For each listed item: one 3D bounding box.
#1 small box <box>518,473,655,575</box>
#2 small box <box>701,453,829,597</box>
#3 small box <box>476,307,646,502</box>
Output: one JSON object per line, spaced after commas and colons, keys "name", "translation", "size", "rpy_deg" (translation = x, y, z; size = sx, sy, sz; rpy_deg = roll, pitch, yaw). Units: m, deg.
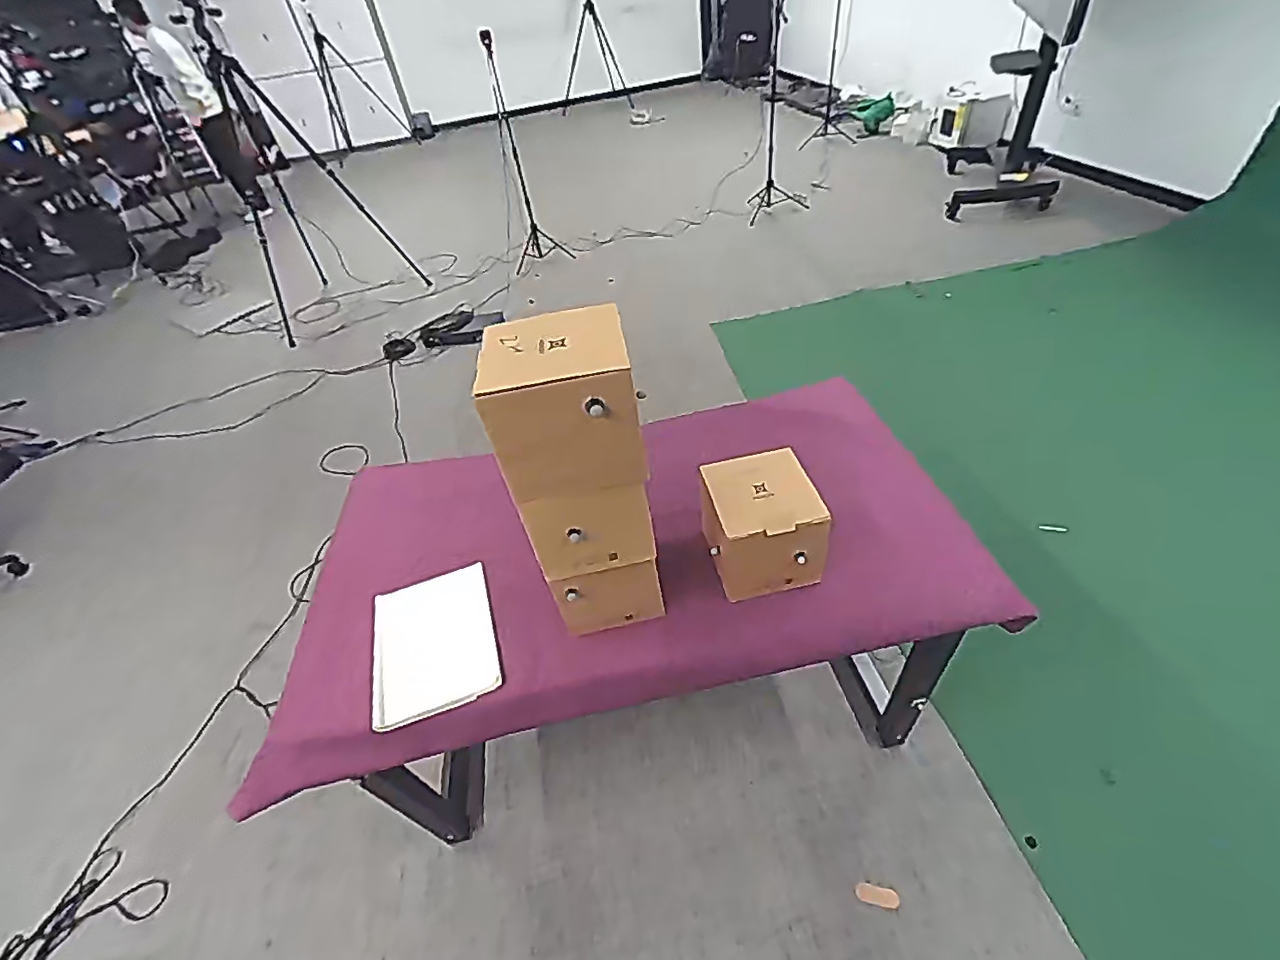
{"name": "small box", "translation": [-0.077, 0.023, 0.803], "size": [0.168, 0.176, 0.179], "rpy_deg": [-11, 42, -1]}
{"name": "small box", "translation": [0.207, 0.082, 0.929], "size": [0.168, 0.176, 0.179], "rpy_deg": [-11, 42, -2]}
{"name": "small box", "translation": [-0.089, -0.094, 0.687], "size": [0.179, 0.176, 0.168], "rpy_deg": [-10, 41, 0]}
